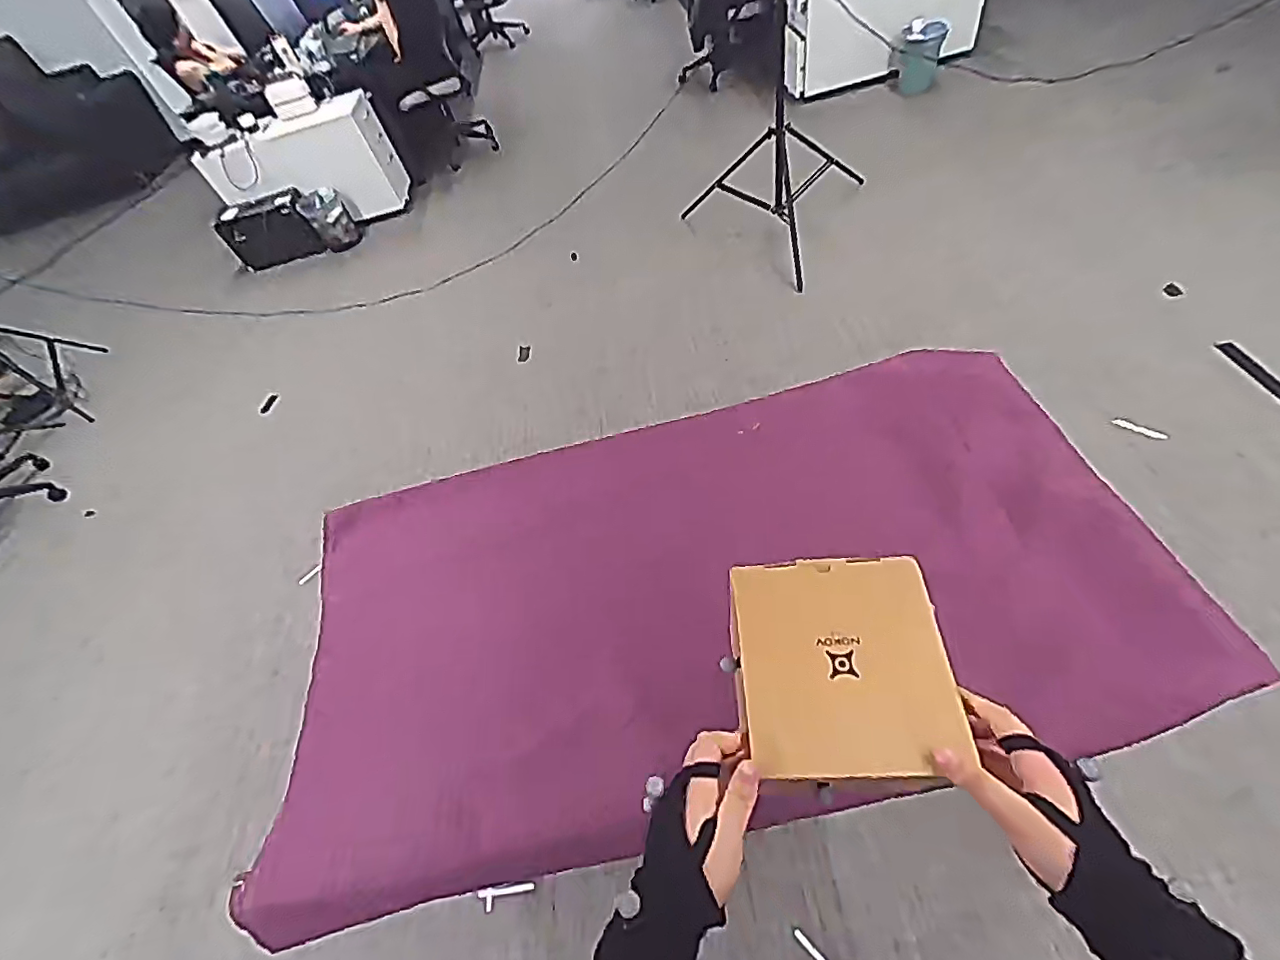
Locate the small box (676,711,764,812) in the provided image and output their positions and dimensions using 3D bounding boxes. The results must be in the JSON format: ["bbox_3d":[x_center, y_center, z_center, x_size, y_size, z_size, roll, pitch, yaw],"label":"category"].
[{"bbox_3d":[0.186,0.654,1.246,0.168,0.176,0.179,-12,52,5],"label":"small box"}]

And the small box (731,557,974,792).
[{"bbox_3d":[0.178,0.191,0.514,0.168,0.176,0.179,-5,55,7],"label":"small box"}]
